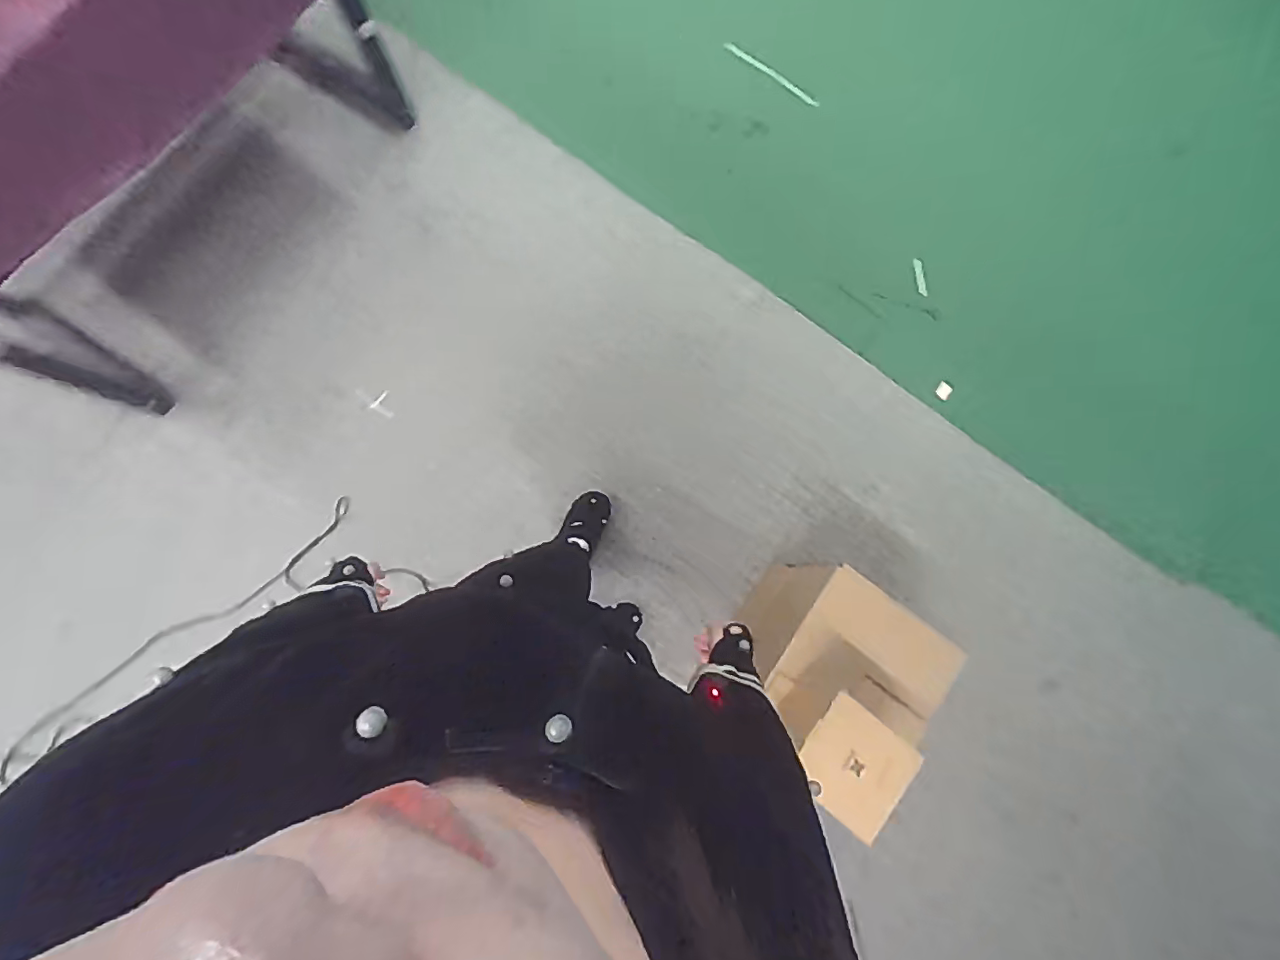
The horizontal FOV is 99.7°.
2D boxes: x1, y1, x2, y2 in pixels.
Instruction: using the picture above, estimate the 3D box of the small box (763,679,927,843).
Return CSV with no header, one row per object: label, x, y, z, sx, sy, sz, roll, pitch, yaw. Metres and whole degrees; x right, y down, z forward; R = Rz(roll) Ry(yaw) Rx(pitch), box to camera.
small box,0.344,0.472,0.945,0.179,0.176,0.168,40,80,3
